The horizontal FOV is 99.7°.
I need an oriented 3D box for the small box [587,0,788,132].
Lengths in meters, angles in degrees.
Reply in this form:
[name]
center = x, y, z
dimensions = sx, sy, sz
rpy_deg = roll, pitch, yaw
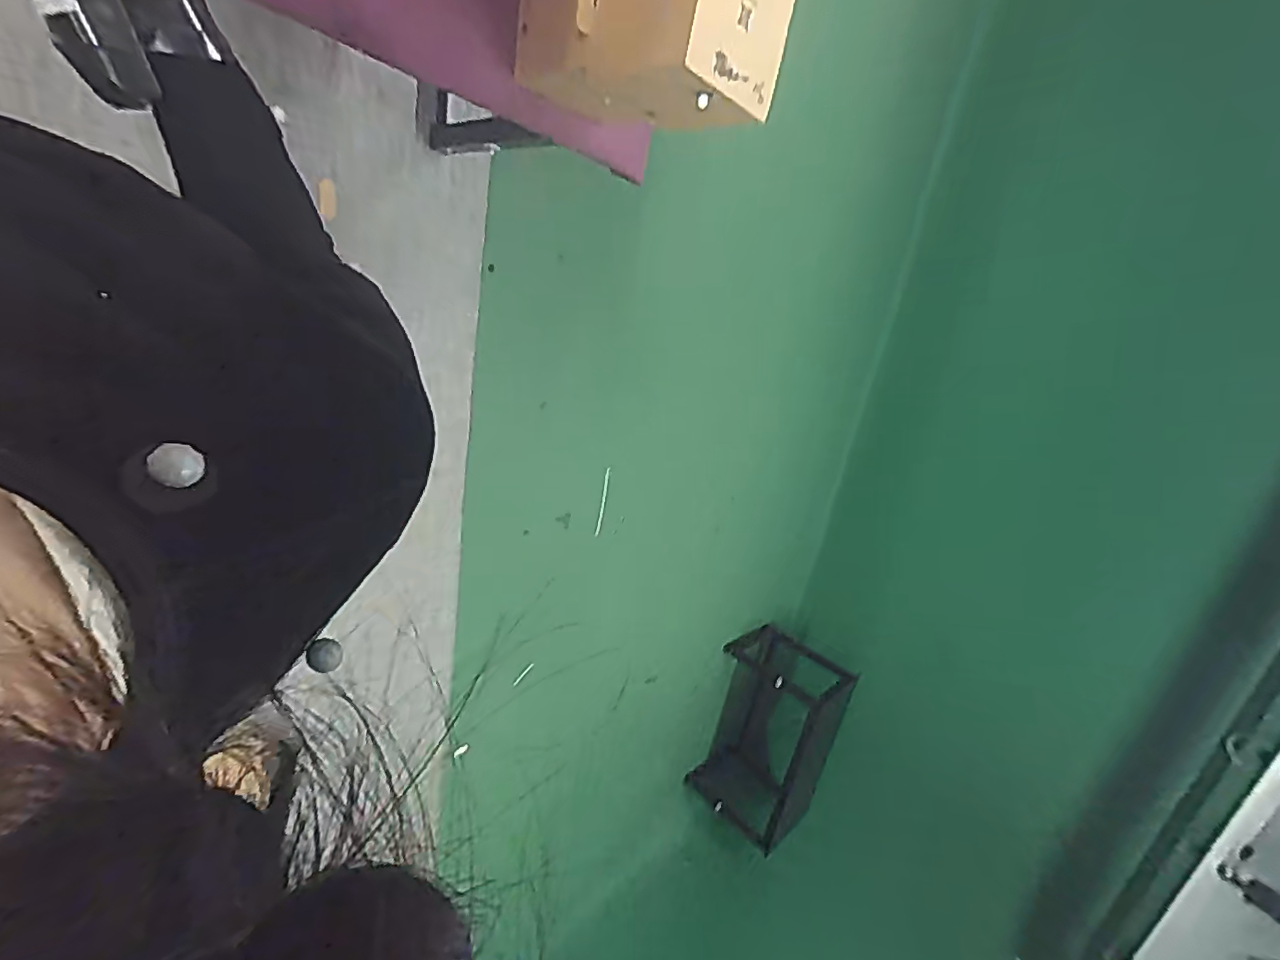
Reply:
[small box]
center = 0.055, -0.551, 0.654
dimensions = 0.168, 0.176, 0.179
rpy_deg = -7, 114, -46
